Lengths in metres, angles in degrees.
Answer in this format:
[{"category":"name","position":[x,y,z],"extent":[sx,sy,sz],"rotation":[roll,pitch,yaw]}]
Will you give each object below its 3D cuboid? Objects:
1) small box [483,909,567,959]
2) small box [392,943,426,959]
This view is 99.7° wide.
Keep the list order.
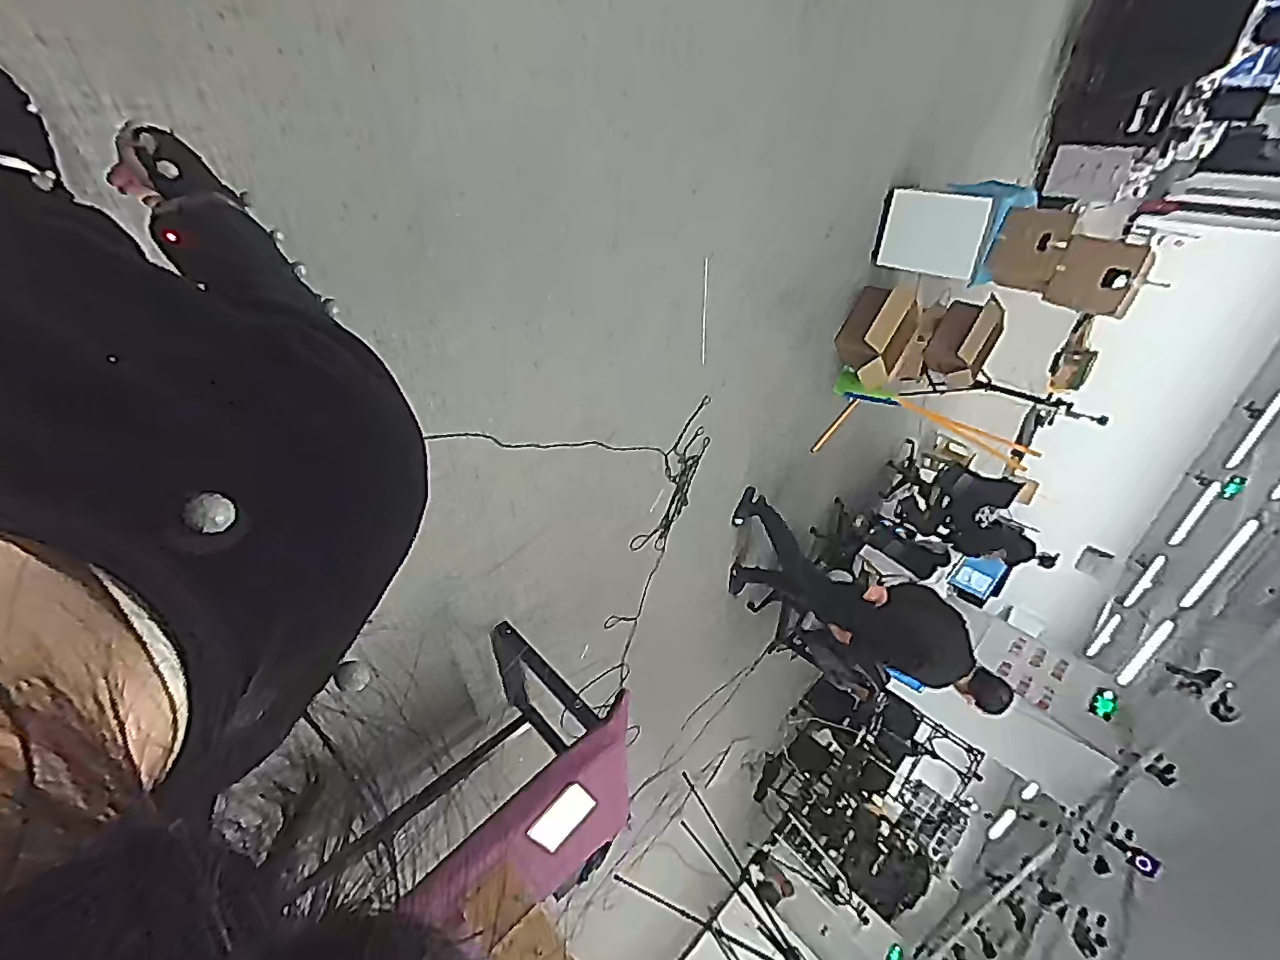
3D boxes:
[{"category":"small box","position":[-0.309,1.323,1.469],"extent":[0.168,0.176,0.179],"rotation":[-29,136,-36]},{"category":"small box","position":[-0.616,1.370,1.411],"extent":[0.168,0.176,0.179],"rotation":[-29,135,-35]}]
